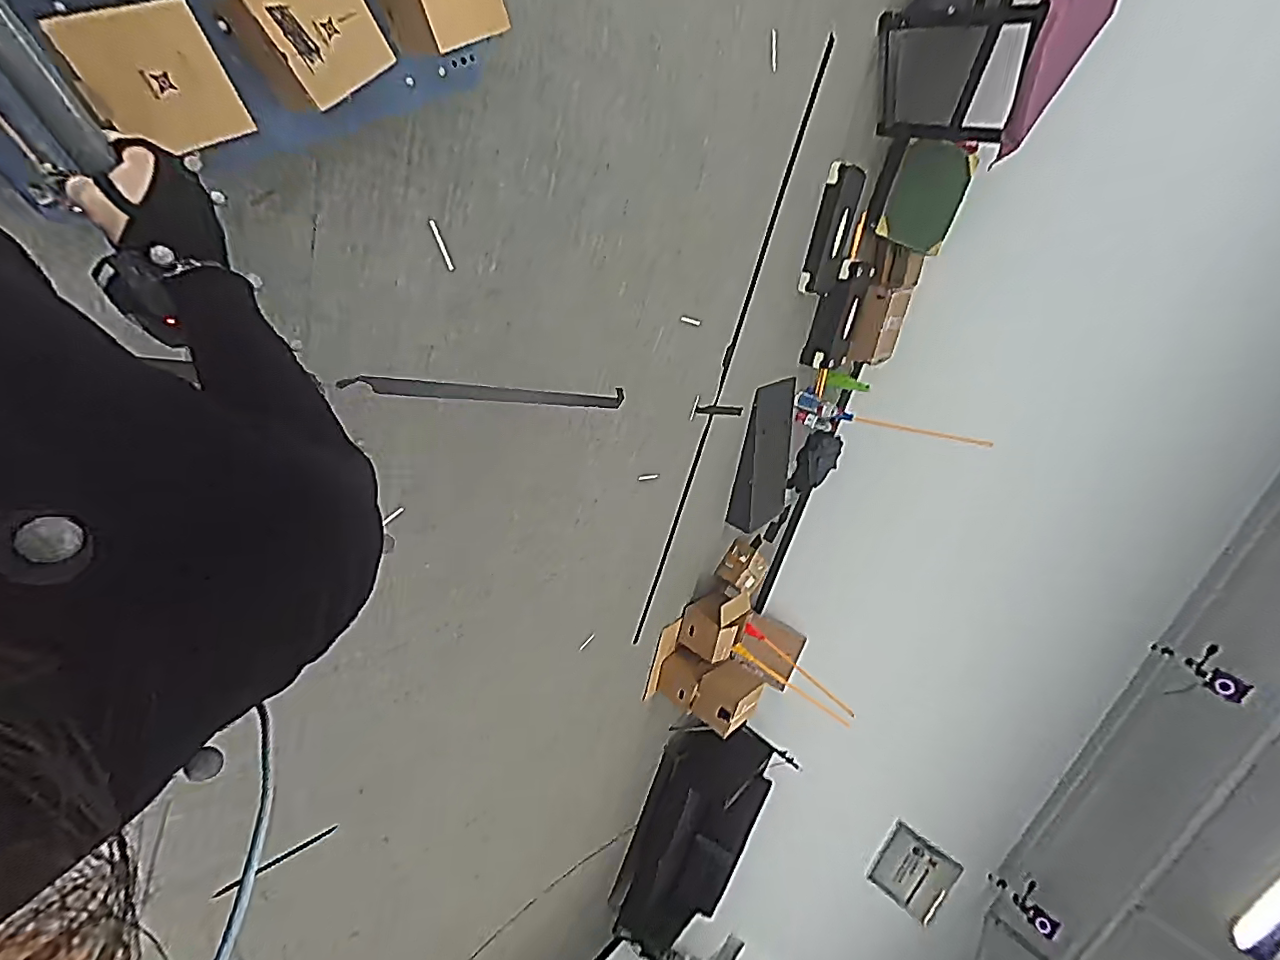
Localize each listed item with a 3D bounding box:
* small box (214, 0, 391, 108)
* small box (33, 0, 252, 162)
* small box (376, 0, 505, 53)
[{"bbox_3d":[-0.575,-0.762,0.918,0.179,0.176,0.168,-51,146,-17],"label":"small box"},{"bbox_3d":[-0.744,-0.598,0.812,0.179,0.176,0.168,-43,143,-27],"label":"small box"},{"bbox_3d":[-0.398,-0.938,1.028,0.179,0.176,0.168,-44,143,-24],"label":"small box"}]
